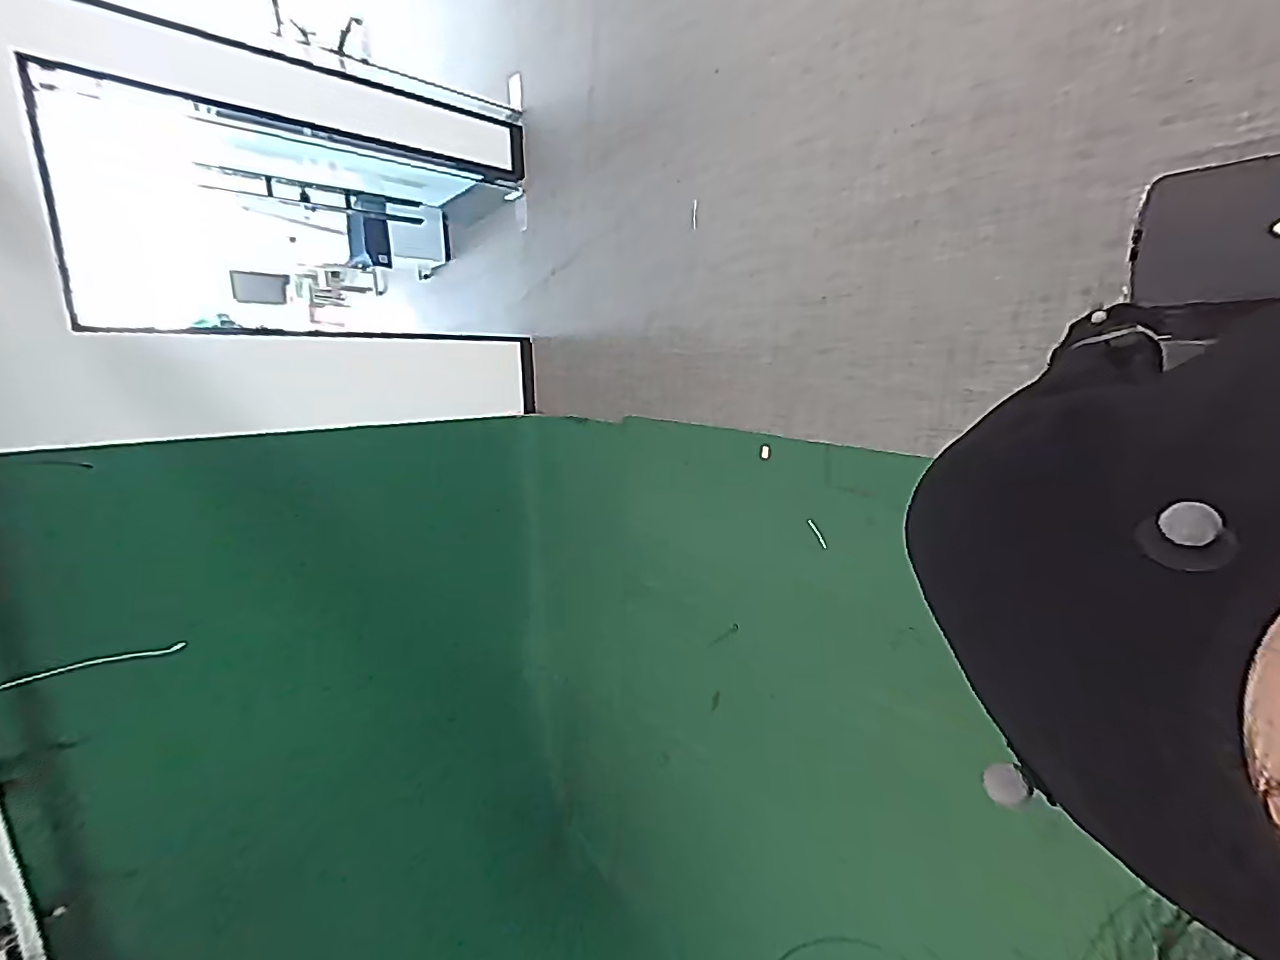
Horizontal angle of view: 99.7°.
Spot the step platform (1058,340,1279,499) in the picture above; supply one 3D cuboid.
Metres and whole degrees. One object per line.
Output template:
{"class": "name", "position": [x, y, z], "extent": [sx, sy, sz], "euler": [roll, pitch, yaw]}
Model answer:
{"class": "step platform", "position": [1.124, -0.088, 0.875], "extent": [0.684, 0.204, 0.286], "euler": [13, 108, 48]}
